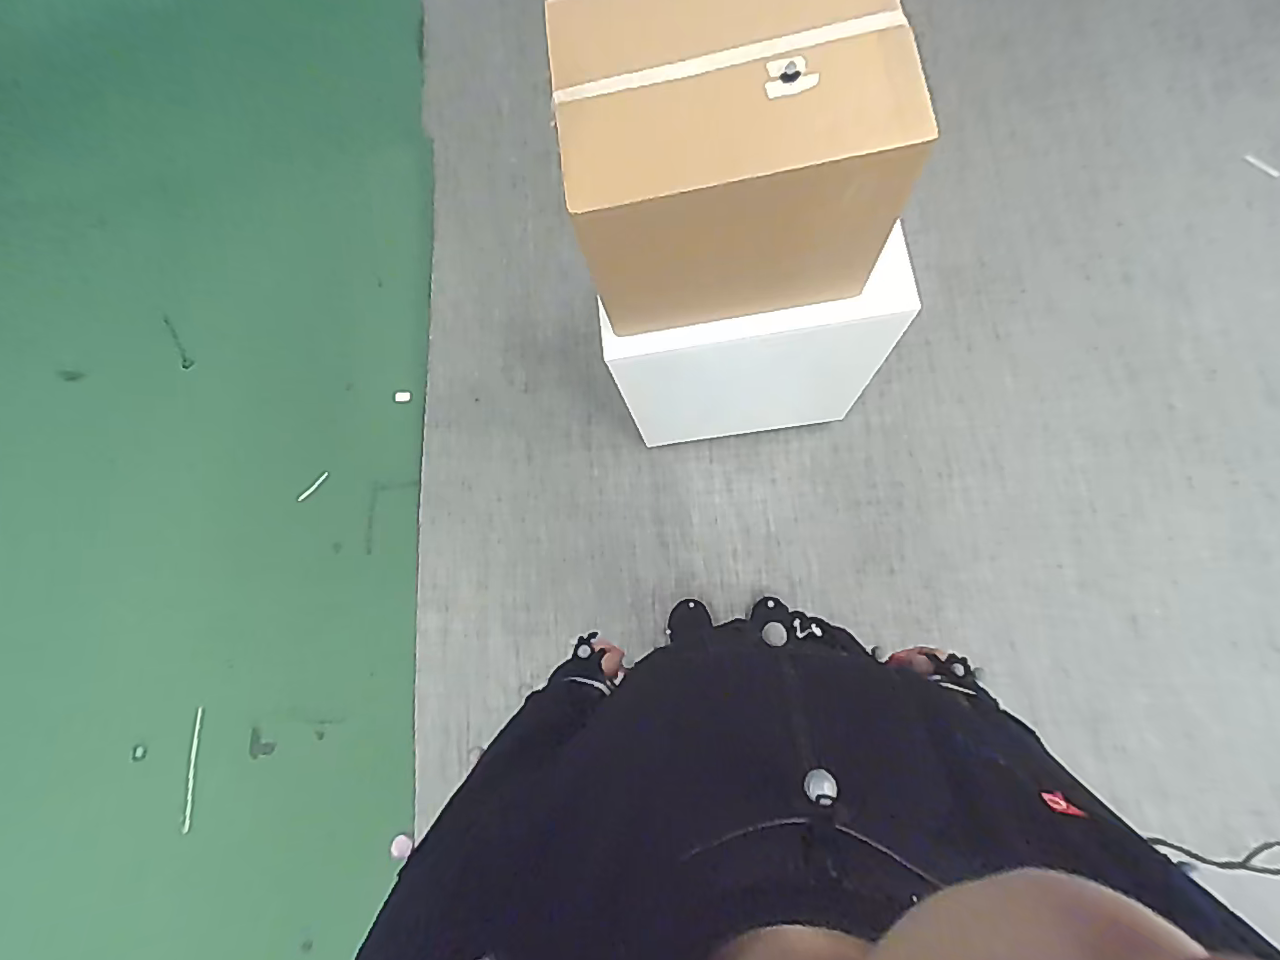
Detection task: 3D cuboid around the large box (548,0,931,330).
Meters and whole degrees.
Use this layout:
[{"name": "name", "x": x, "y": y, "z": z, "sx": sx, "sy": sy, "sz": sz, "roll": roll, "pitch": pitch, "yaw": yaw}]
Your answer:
[{"name": "large box", "x": 0.114, "y": -0.452, "z": 0.771, "sx": 0.408, "sy": 0.320, "sz": 0.320, "roll": -9, "pitch": 78, "yaw": 5}]
